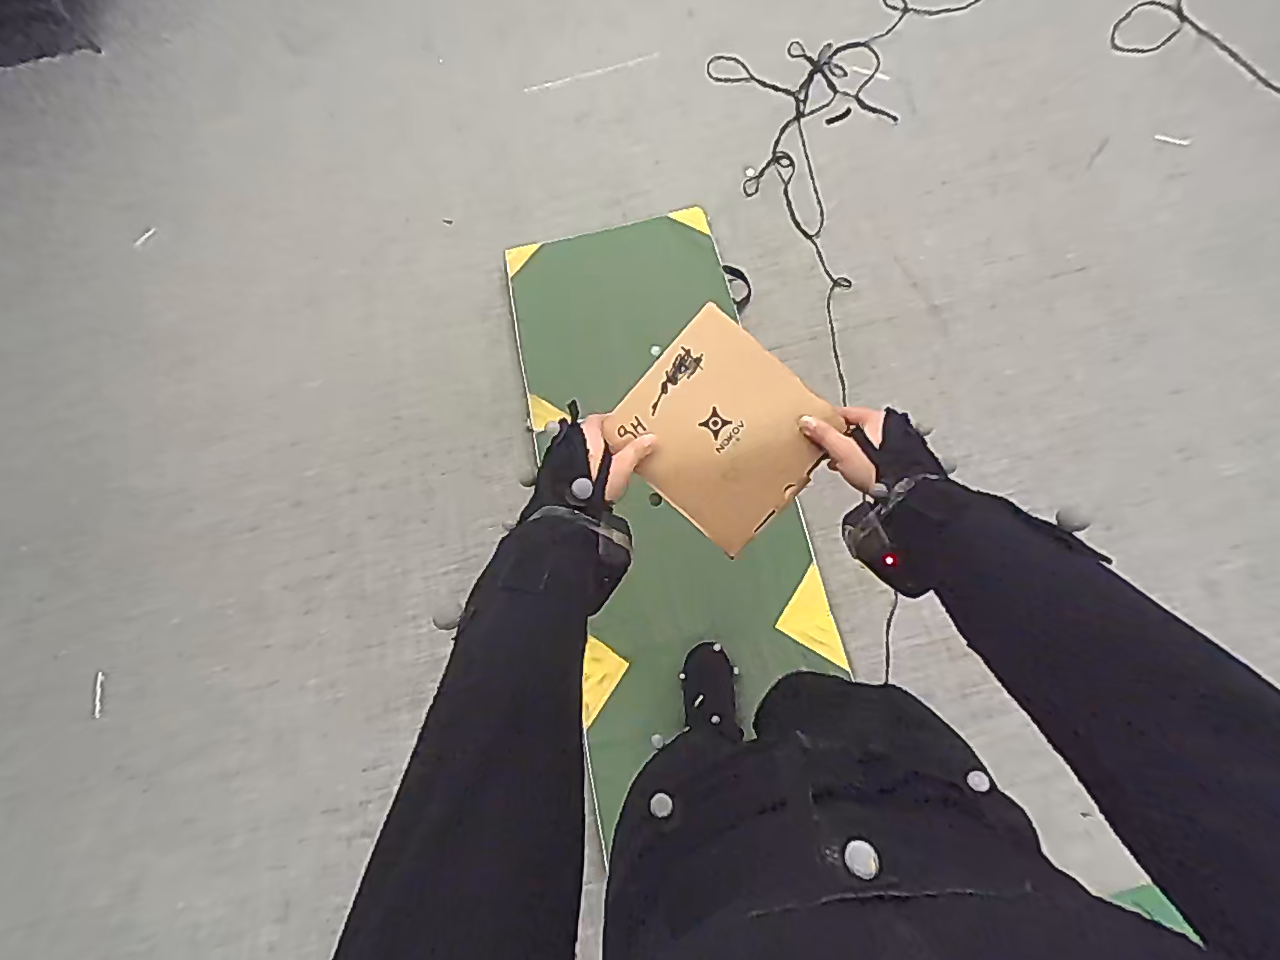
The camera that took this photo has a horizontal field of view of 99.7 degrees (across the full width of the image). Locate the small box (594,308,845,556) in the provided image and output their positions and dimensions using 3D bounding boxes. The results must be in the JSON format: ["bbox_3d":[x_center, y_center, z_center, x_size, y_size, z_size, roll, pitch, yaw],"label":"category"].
[{"bbox_3d":[0.075,-0.046,0.579,0.179,0.176,0.168,42,91,0],"label":"small box"}]
